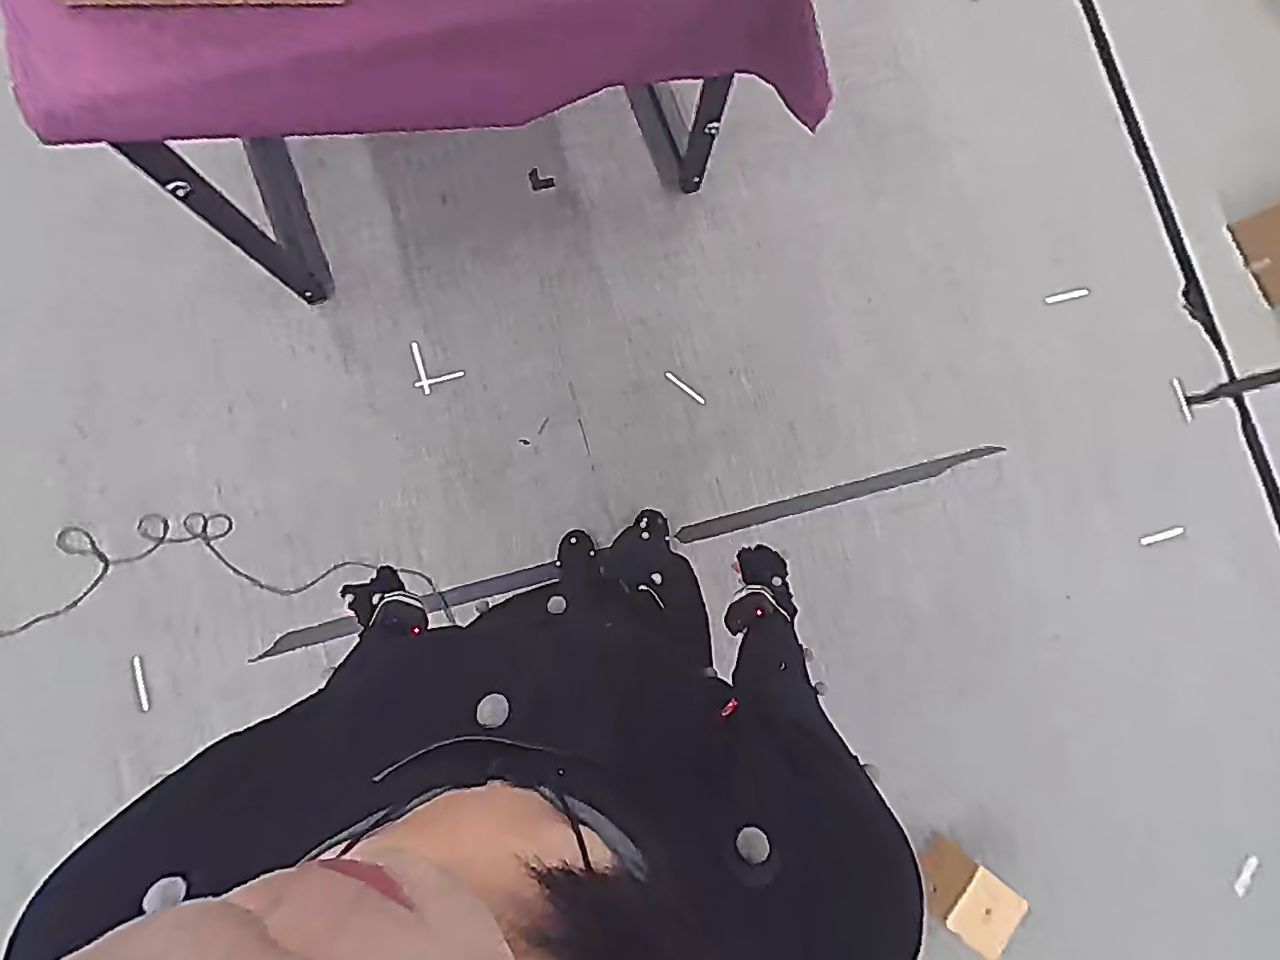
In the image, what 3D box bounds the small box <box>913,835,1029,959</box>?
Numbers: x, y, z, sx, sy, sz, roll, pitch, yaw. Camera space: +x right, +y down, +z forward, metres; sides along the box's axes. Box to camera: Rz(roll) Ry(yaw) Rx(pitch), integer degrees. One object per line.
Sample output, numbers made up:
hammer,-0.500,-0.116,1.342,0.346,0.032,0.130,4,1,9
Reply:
small box,0.863,1.102,1.433,0.168,0.176,0.179,38,82,-2
